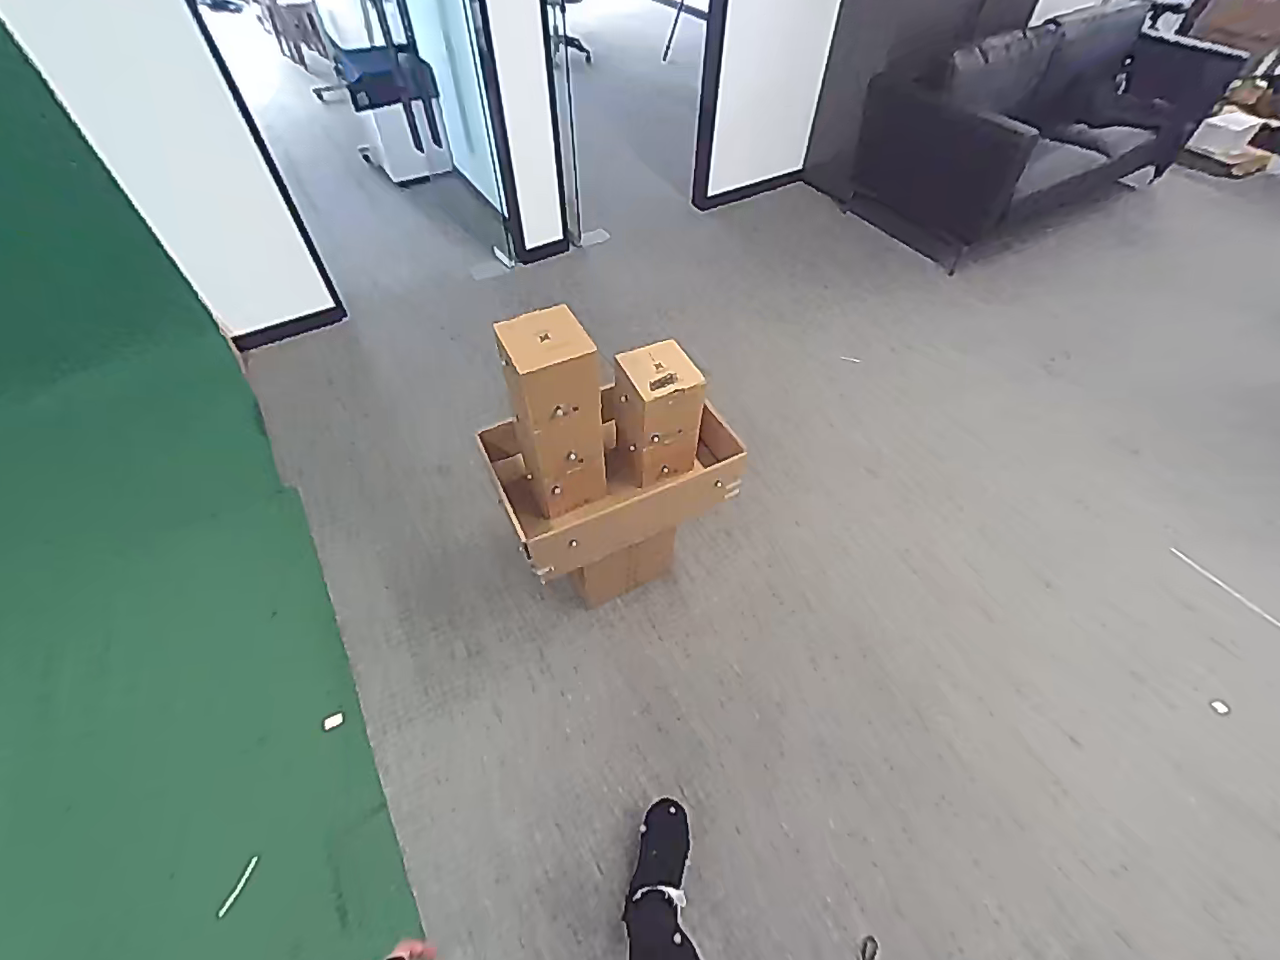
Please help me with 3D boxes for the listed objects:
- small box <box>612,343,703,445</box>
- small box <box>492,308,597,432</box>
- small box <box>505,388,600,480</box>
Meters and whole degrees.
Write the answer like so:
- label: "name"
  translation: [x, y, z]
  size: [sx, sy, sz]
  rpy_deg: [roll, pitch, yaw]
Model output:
- label: "small box"
  translation: [0.040, -0.208, 1.348]
  size: [0.168, 0.176, 0.179]
  rpy_deg: [-20, 54, -16]
- label: "small box"
  translation: [-0.200, -0.233, 1.152]
  size: [0.168, 0.176, 0.179]
  rpy_deg: [-21, 55, -16]
- label: "small box"
  translation: [-0.205, -0.131, 1.279]
  size: [0.168, 0.176, 0.179]
  rpy_deg: [-22, 55, -17]
